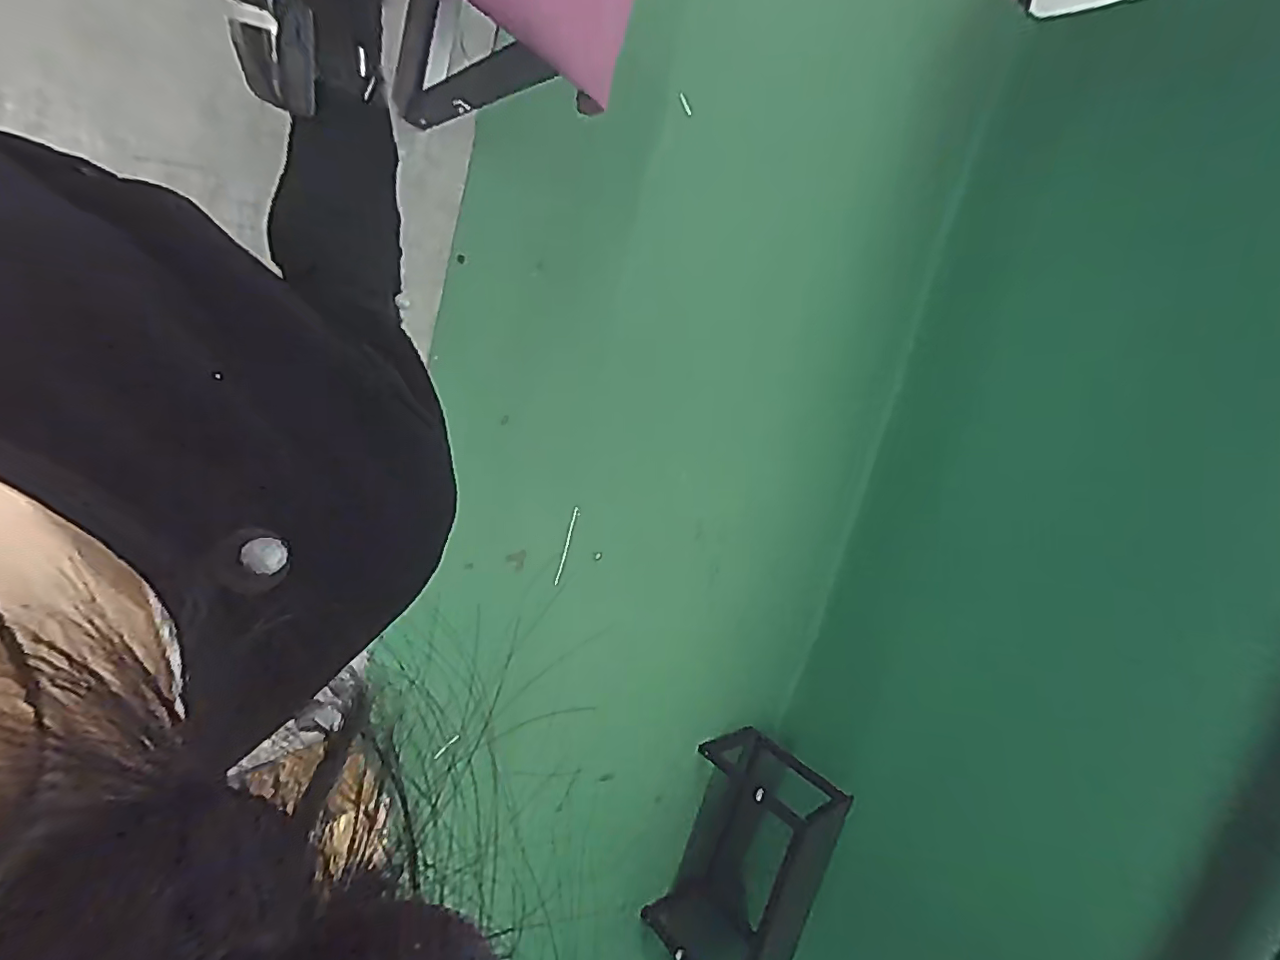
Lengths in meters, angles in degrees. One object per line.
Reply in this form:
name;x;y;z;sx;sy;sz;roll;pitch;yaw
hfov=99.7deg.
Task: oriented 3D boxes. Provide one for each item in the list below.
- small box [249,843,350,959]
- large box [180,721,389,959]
small box;-0.819;1.031;1.302;0.179;0.176;0.168;-7;111;-42
large box;-0.963;0.955;1.486;0.408;0.320;0.320;-12;117;-43
